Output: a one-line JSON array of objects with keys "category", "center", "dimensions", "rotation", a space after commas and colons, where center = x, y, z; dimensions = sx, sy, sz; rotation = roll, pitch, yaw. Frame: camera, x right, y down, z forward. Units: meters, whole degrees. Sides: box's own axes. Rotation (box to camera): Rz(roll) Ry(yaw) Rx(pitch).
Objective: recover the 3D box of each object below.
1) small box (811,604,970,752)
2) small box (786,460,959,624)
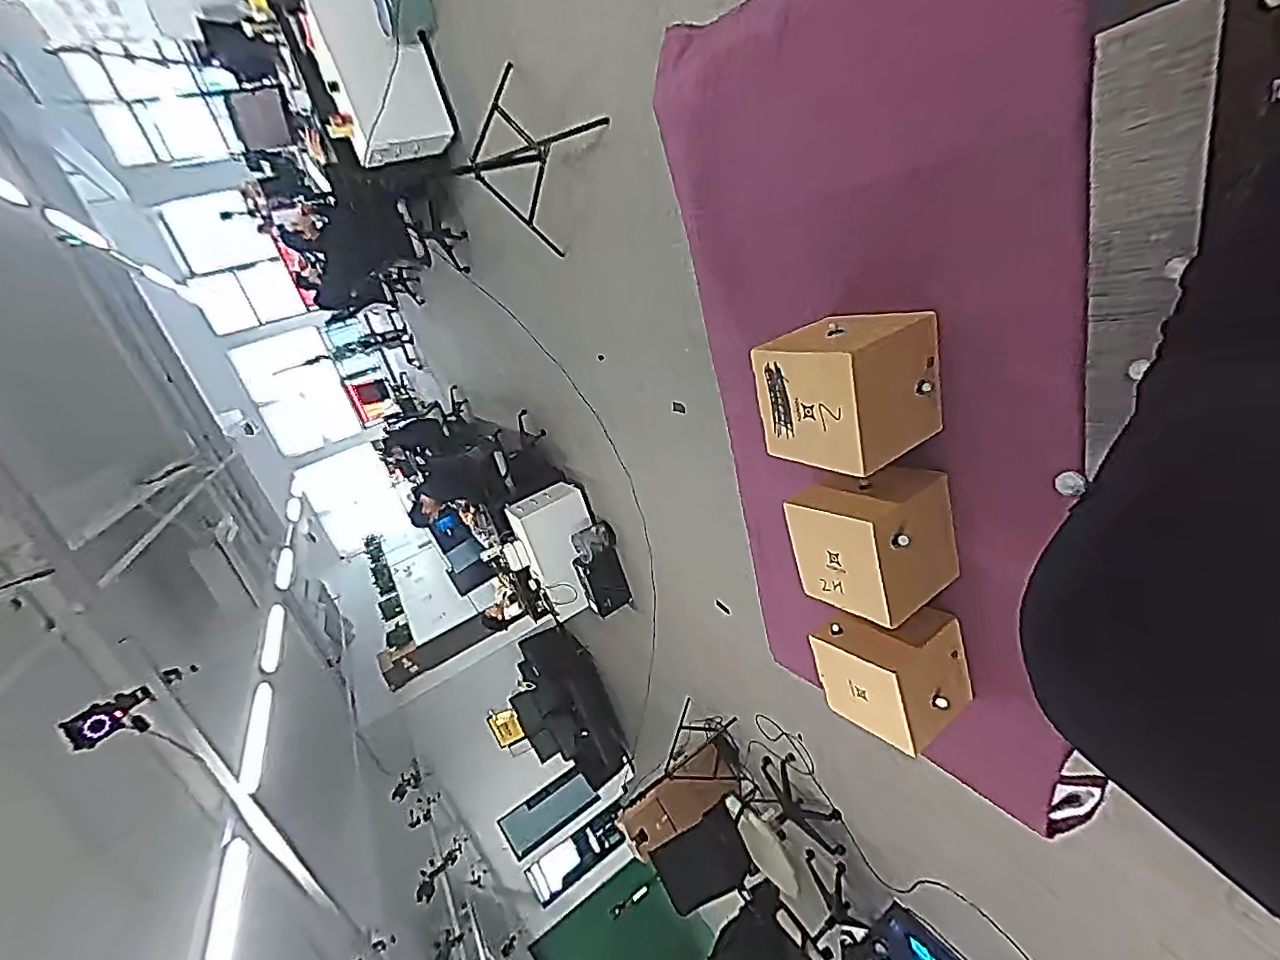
[{"category": "small box", "center": [0.431, 0.310, 0.921], "dimensions": [0.179, 0.176, 0.168], "rotation": [11, 124, 62]}, {"category": "small box", "center": [0.357, 0.082, 0.831], "dimensions": [0.168, 0.176, 0.179], "rotation": [16, 129, 61]}]
